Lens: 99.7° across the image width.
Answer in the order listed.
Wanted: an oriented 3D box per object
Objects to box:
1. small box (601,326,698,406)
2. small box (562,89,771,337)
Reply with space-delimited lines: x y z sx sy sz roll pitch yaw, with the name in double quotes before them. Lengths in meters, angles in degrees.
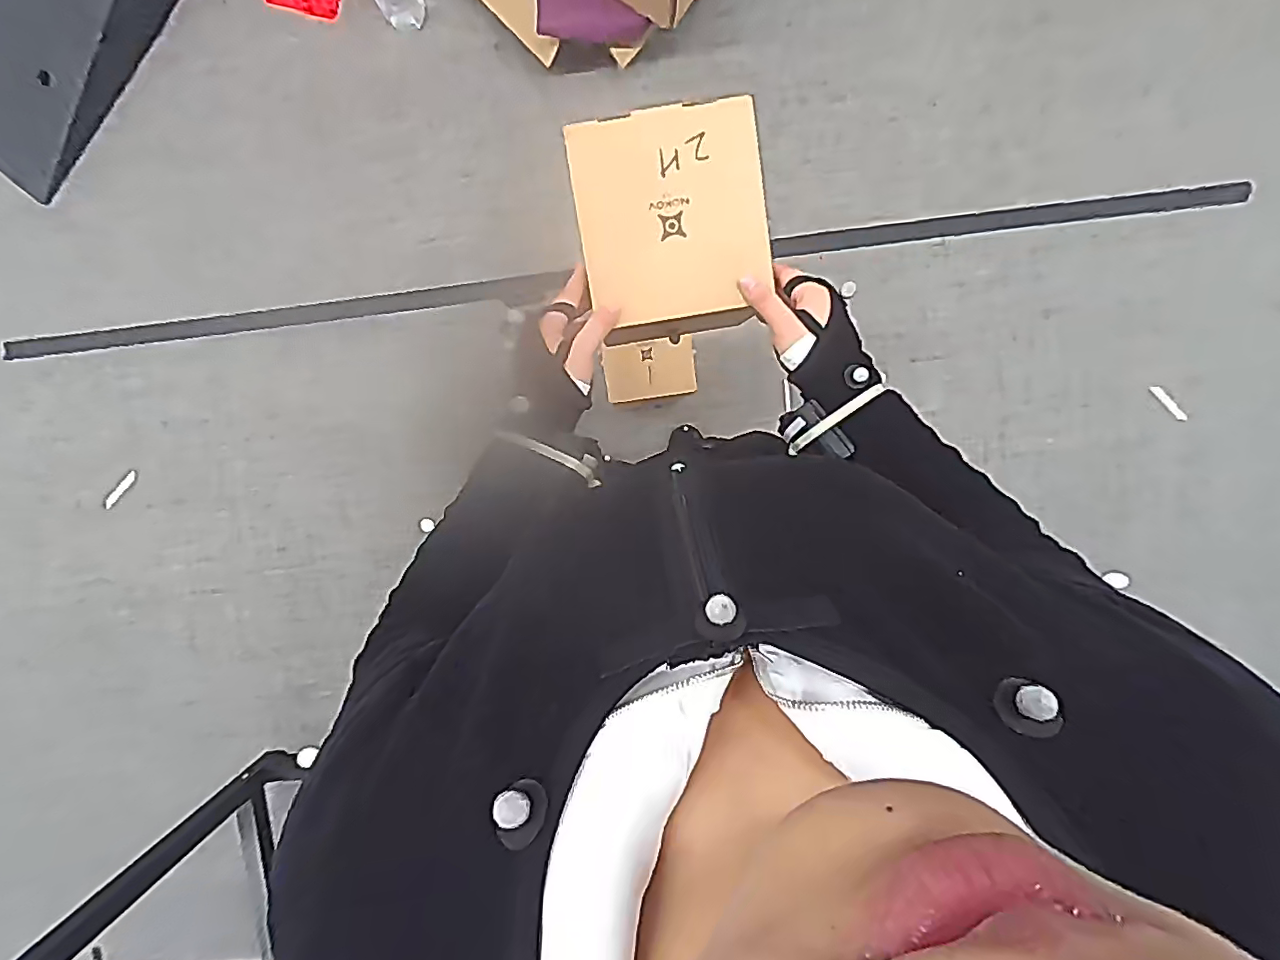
"small box" 0.015 -0.245 1.058 0.168 0.176 0.179 -8 96 2
"small box" 0.026 -0.248 0.552 0.168 0.176 0.179 -10 99 1
